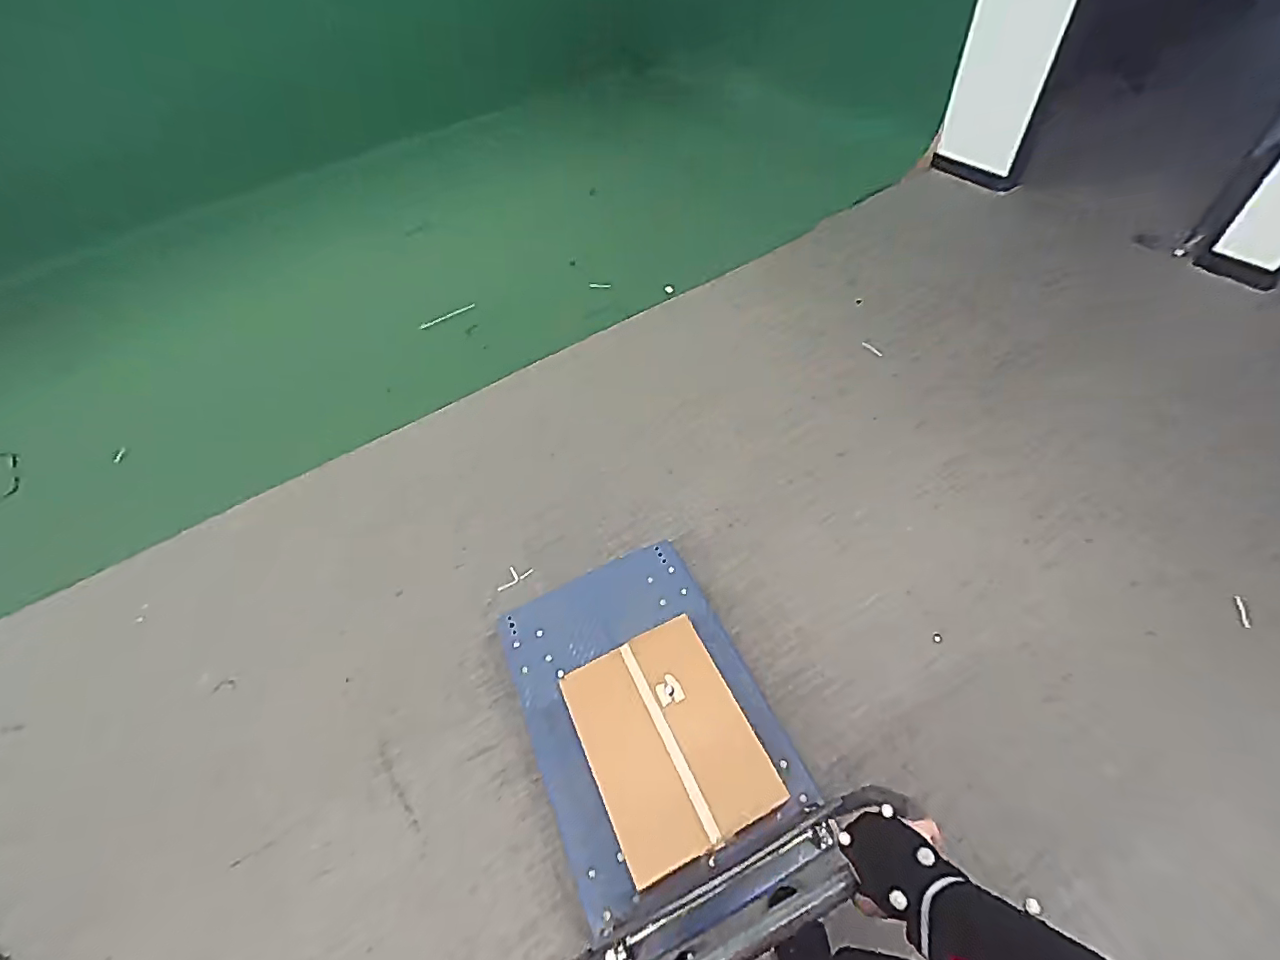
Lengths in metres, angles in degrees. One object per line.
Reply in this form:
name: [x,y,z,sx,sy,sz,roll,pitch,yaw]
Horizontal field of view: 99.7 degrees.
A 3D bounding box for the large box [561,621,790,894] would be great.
large box: [0.073,0.598,1.179,0.320,0.320,0.408,-24,52,-11]
